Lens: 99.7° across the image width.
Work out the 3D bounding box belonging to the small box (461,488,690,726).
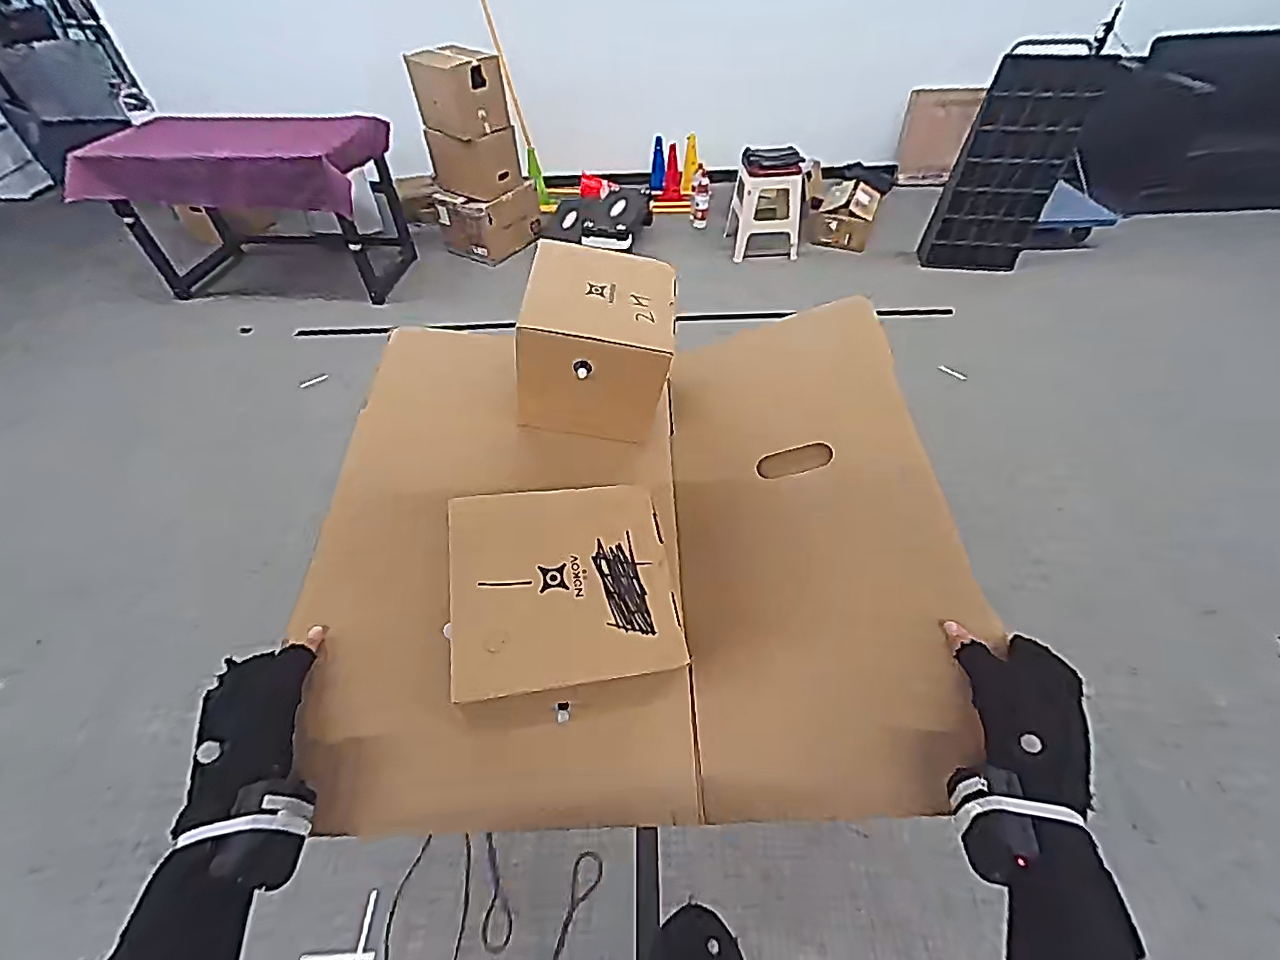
[{"bbox_3d":[-0.071,0.123,0.511,0.179,0.176,0.168,-4,58,-14],"label":"small box"}]

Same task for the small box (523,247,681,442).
[{"bbox_3d":[-0.051,-0.169,0.708,0.179,0.176,0.168,9,56,-6],"label":"small box"}]
